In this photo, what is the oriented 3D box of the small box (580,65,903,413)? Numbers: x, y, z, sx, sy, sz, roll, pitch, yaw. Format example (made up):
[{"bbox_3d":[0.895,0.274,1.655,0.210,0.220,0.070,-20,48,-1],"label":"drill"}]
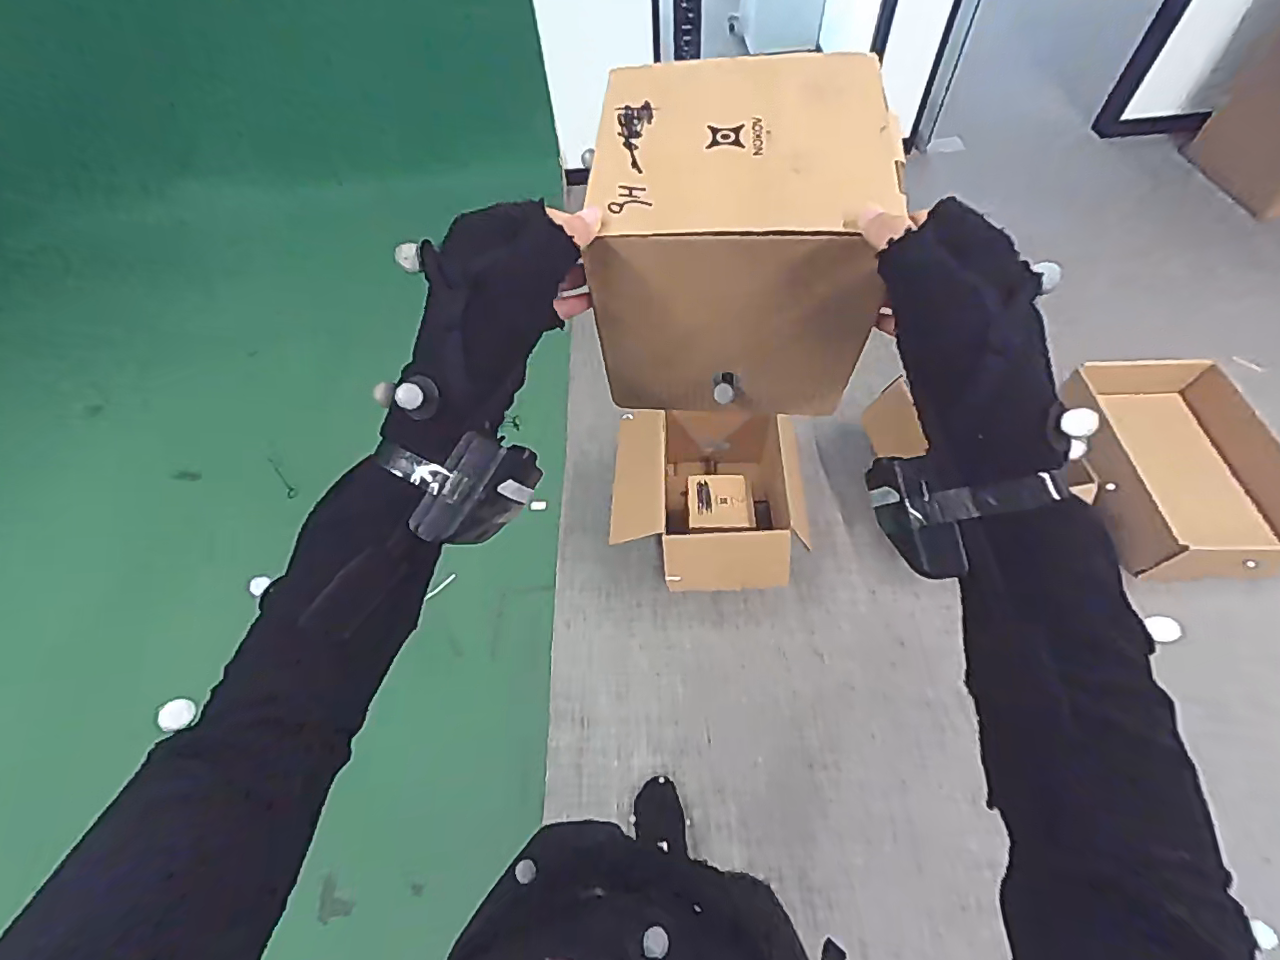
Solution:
[{"bbox_3d":[0.065,-0.164,0.396,0.179,0.176,0.168,4,63,5],"label":"small box"}]
